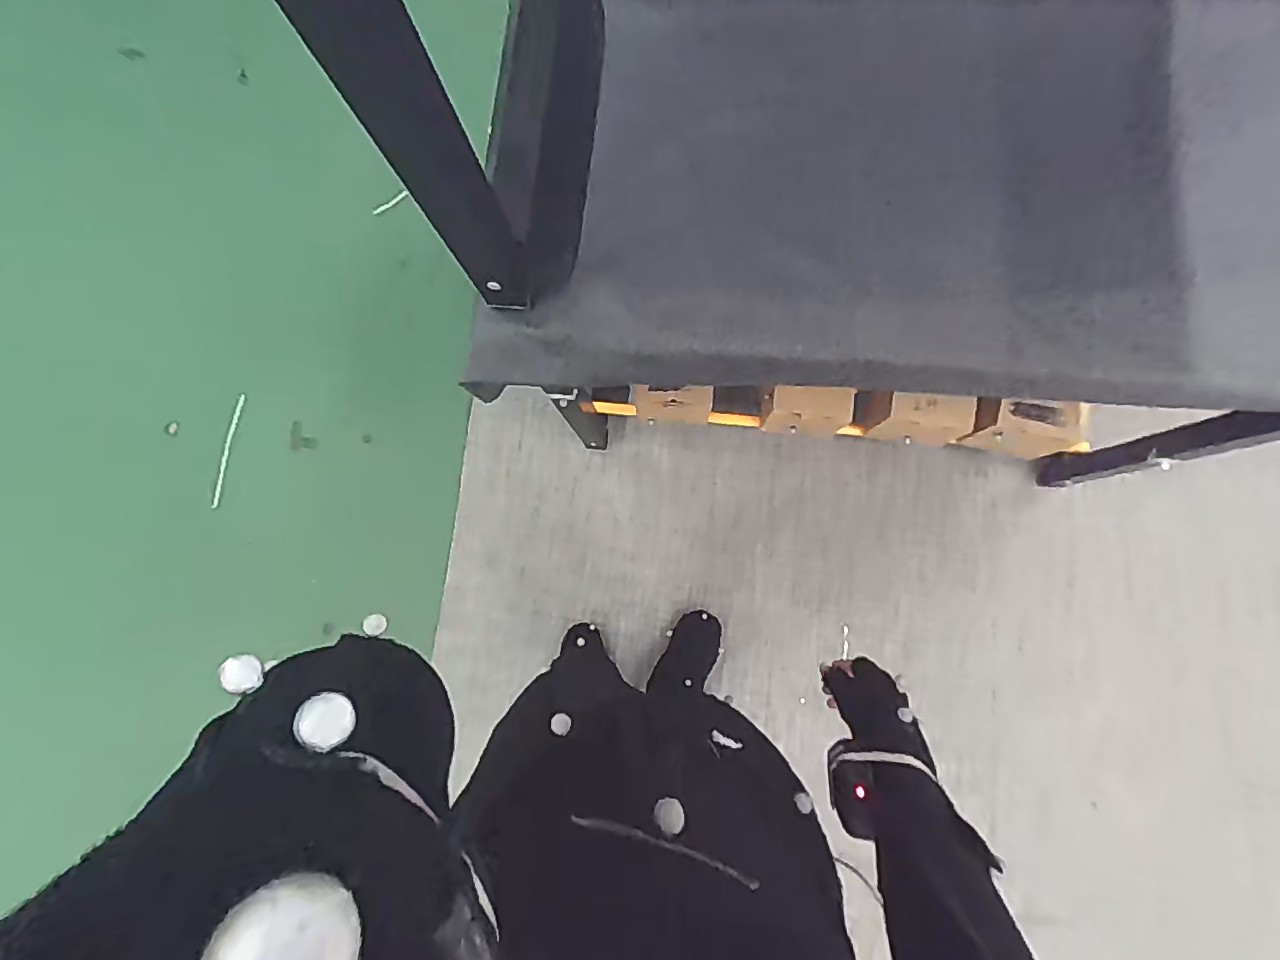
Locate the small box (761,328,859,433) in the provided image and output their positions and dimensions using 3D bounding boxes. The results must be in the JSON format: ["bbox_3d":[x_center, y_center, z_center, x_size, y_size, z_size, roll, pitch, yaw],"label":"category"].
[{"bbox_3d":[0.369,-0.215,1.198,0.168,0.176,0.179,7,83,5],"label":"small box"}]
